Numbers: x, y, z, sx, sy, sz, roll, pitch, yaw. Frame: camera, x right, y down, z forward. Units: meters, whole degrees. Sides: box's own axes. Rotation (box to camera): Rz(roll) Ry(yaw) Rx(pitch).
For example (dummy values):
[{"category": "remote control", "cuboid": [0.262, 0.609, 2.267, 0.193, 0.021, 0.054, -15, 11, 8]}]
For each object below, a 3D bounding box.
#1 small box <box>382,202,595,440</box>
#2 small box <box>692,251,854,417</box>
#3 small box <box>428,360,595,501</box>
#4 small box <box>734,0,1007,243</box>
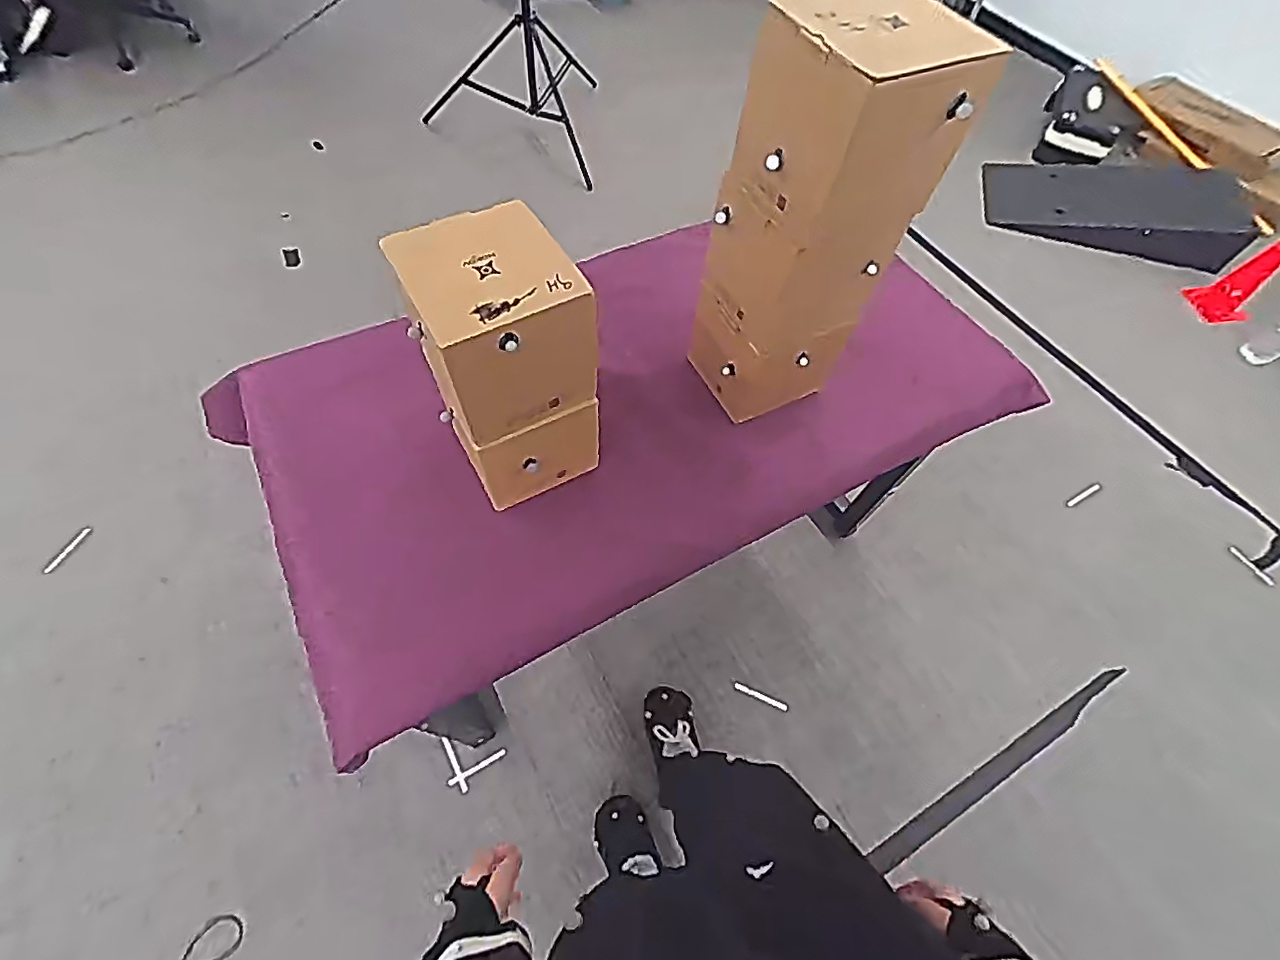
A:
[{"category": "small box", "cuboid": [-0.164, -0.179, 0.625, 0.168, 0.176, 0.179, -28, 64, -17]}, {"category": "small box", "cuboid": [0.196, -0.227, 0.865, 0.179, 0.176, 0.168, -23, 65, -16]}, {"category": "small box", "cuboid": [-0.171, -0.092, 0.764, 0.168, 0.176, 0.179, -26, 65, -17]}, {"category": "small box", "cuboid": [0.226, -0.390, 0.581, 0.179, 0.176, 0.168, -24, 64, -16]}]
